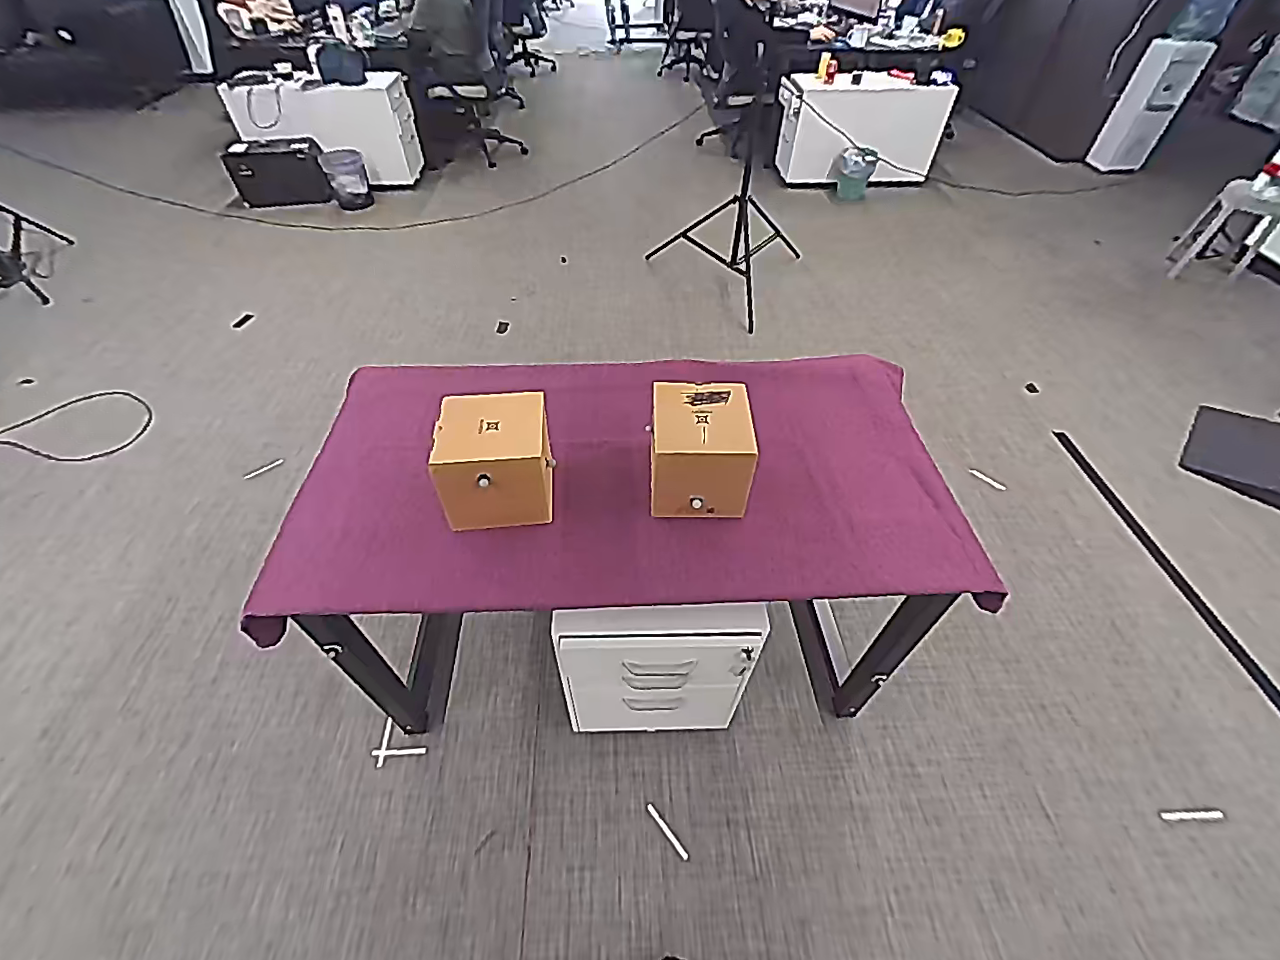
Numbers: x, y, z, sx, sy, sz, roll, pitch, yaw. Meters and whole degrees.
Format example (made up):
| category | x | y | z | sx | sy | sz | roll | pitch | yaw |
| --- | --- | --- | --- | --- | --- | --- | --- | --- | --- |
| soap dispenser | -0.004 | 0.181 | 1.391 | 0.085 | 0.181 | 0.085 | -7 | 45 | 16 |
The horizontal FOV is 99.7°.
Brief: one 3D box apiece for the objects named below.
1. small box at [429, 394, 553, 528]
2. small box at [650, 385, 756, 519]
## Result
| category | x | y | z | sx | sy | sz | roll | pitch | yaw |
| --- | --- | --- | --- | --- | --- | --- | --- | --- | --- |
| small box | -0.248 | -0.032 | 0.950 | 0.179 | 0.176 | 0.168 | -4 | 48 | -4 |
| small box | 0.102 | -0.050 | 0.971 | 0.168 | 0.176 | 0.179 | 0 | 49 | 0 |
